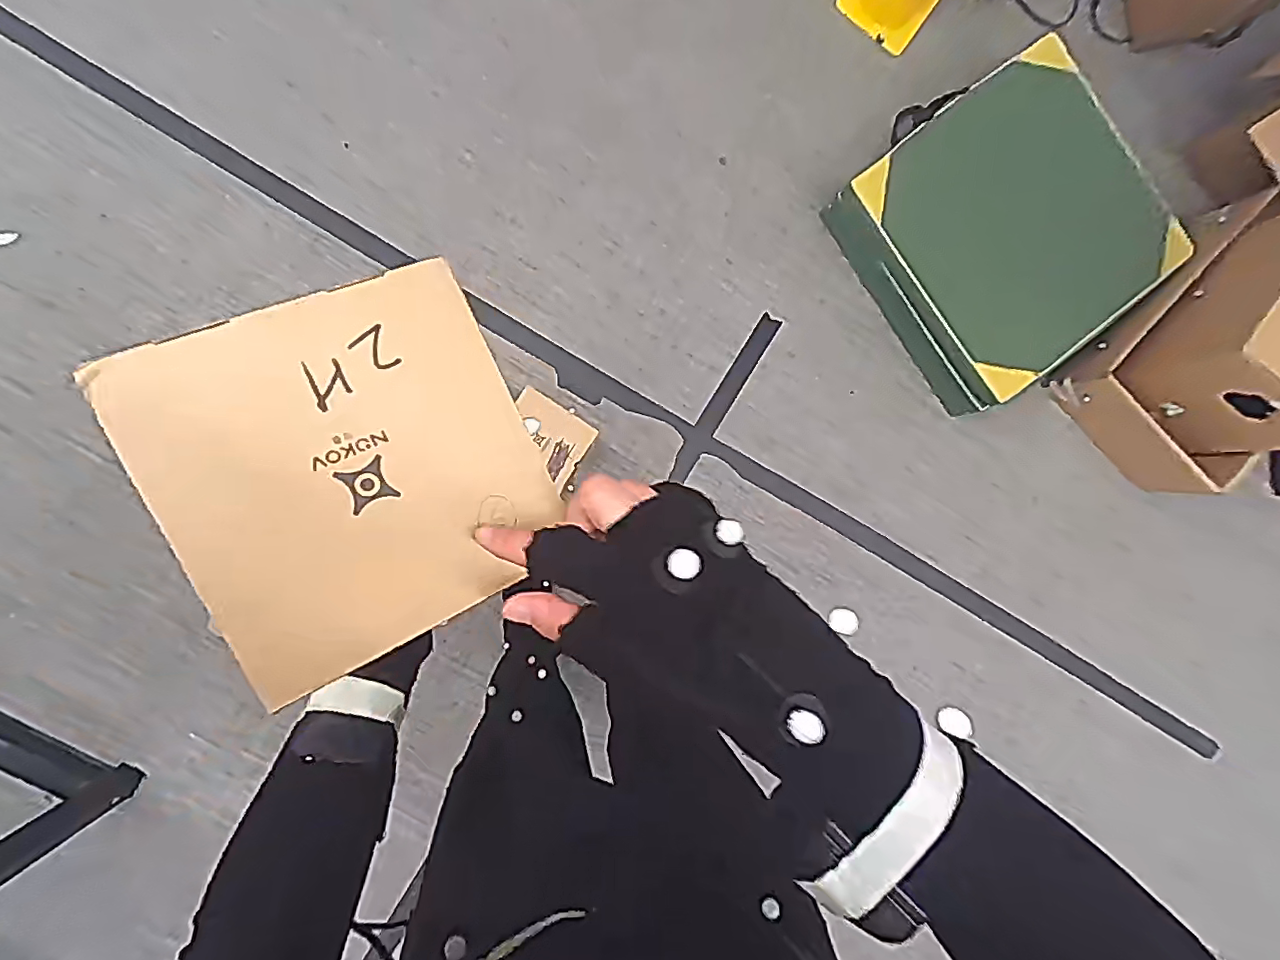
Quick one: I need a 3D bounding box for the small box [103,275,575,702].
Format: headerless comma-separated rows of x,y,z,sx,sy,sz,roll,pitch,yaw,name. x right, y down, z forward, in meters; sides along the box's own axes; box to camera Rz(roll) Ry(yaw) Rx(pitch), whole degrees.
-0.166,0.001,0.351,0.168,0.176,0.179,-27,97,-22,small box

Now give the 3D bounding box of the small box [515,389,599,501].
-0.204,-0.073,1.168,0.179,0.176,0.168,33,87,-4,small box
